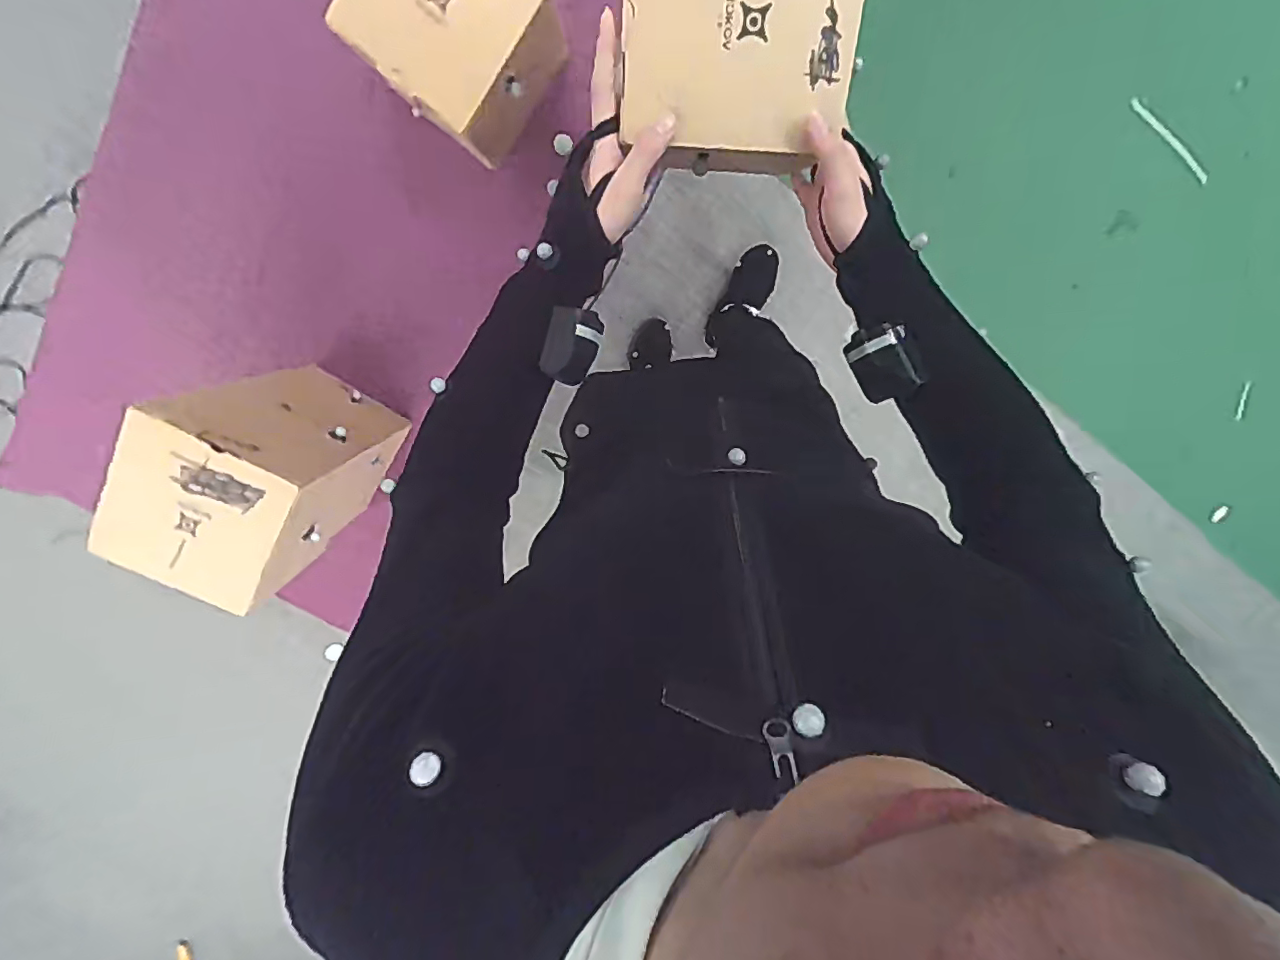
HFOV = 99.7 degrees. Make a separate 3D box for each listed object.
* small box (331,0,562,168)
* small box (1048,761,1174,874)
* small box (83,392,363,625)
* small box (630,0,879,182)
[{"bbox_3d":[-0.203,-0.503,0.622,0.168,0.176,0.179,36,104,-13],"label":"small box"},{"bbox_3d":[1.283,0.928,1.495,0.168,0.176,0.179,33,103,-14],"label":"small box"},{"bbox_3d":[-0.444,0.020,0.608,0.168,0.176,0.179,29,105,-12],"label":"small box"},{"bbox_3d":[0.086,-0.365,0.470,0.179,0.176,0.168,4,114,-1],"label":"small box"}]
